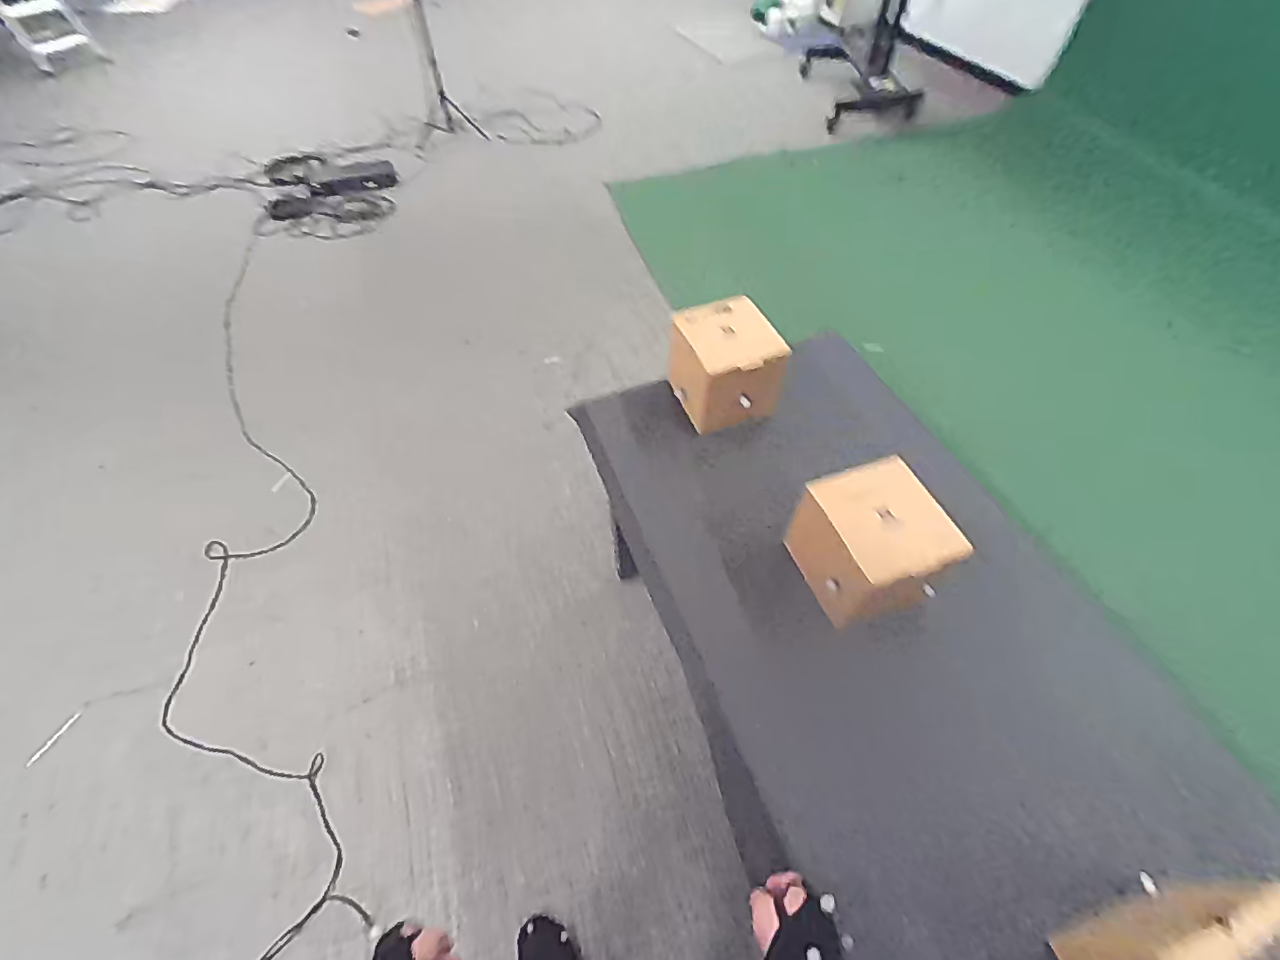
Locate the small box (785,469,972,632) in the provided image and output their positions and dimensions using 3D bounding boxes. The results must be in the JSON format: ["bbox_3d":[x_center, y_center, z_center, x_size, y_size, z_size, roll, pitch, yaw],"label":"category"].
[{"bbox_3d":[0.349,0.115,0.830,0.168,0.176,0.179,-14,53,-13],"label":"small box"}]

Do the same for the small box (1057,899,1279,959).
[{"bbox_3d":[0.562,0.533,0.513,0.168,0.176,0.179,-14,55,-11],"label":"small box"}]

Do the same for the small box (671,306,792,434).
[{"bbox_3d":[0.170,-0.209,1.067,0.168,0.176,0.179,-15,56,-13],"label":"small box"}]
